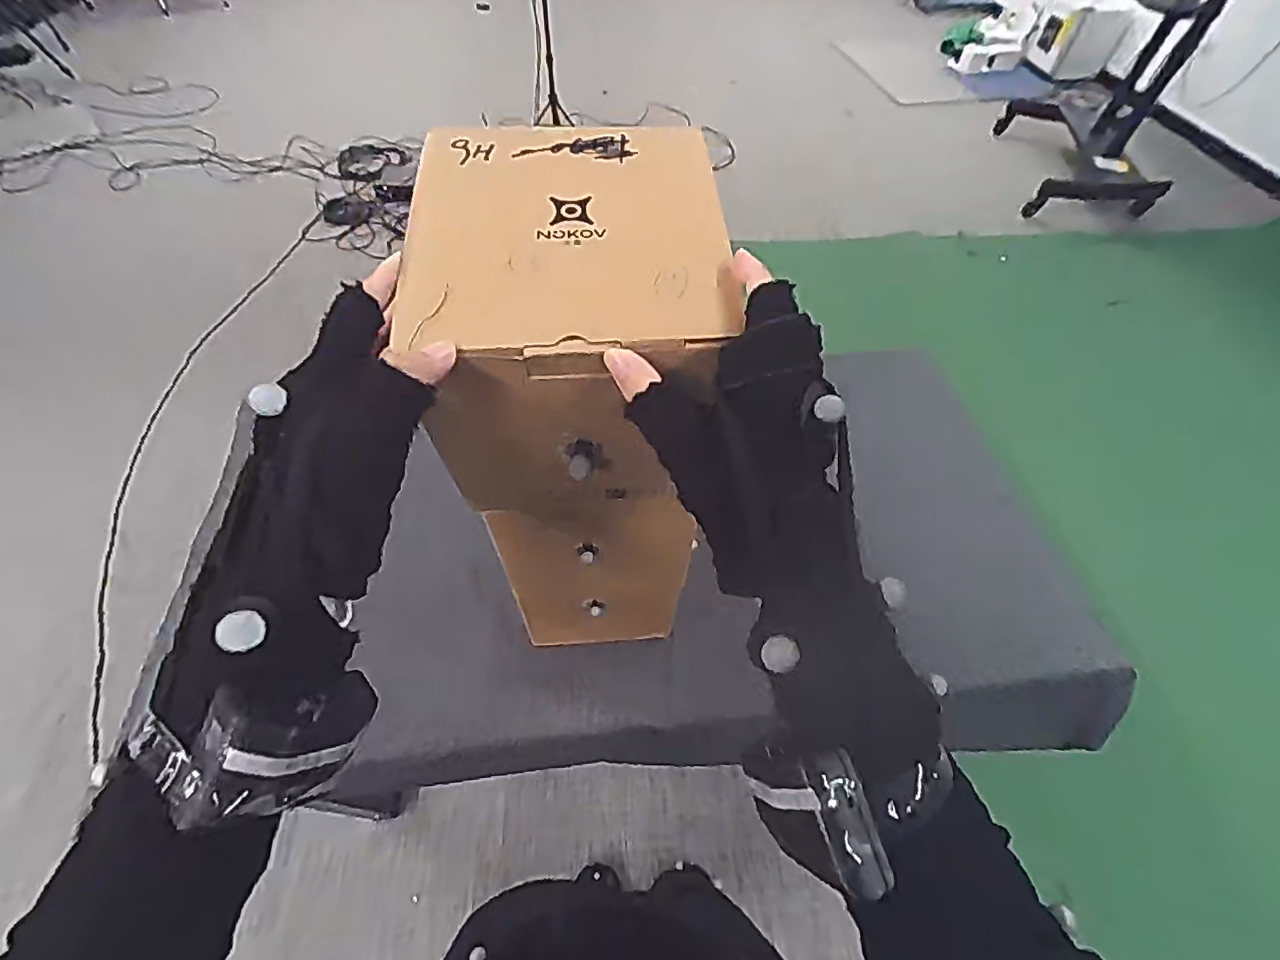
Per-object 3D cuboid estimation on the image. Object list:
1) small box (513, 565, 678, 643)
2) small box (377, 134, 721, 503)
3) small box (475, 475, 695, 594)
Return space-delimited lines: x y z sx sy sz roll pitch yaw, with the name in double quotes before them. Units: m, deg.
"small box" -0.053 0.093 0.671 0.179 0.176 0.168 -4 55 -5
"small box" -0.049 -0.092 0.359 0.168 0.176 0.179 -4 63 -4
"small box" -0.049 0.002 0.535 0.179 0.176 0.168 -4 55 -2
